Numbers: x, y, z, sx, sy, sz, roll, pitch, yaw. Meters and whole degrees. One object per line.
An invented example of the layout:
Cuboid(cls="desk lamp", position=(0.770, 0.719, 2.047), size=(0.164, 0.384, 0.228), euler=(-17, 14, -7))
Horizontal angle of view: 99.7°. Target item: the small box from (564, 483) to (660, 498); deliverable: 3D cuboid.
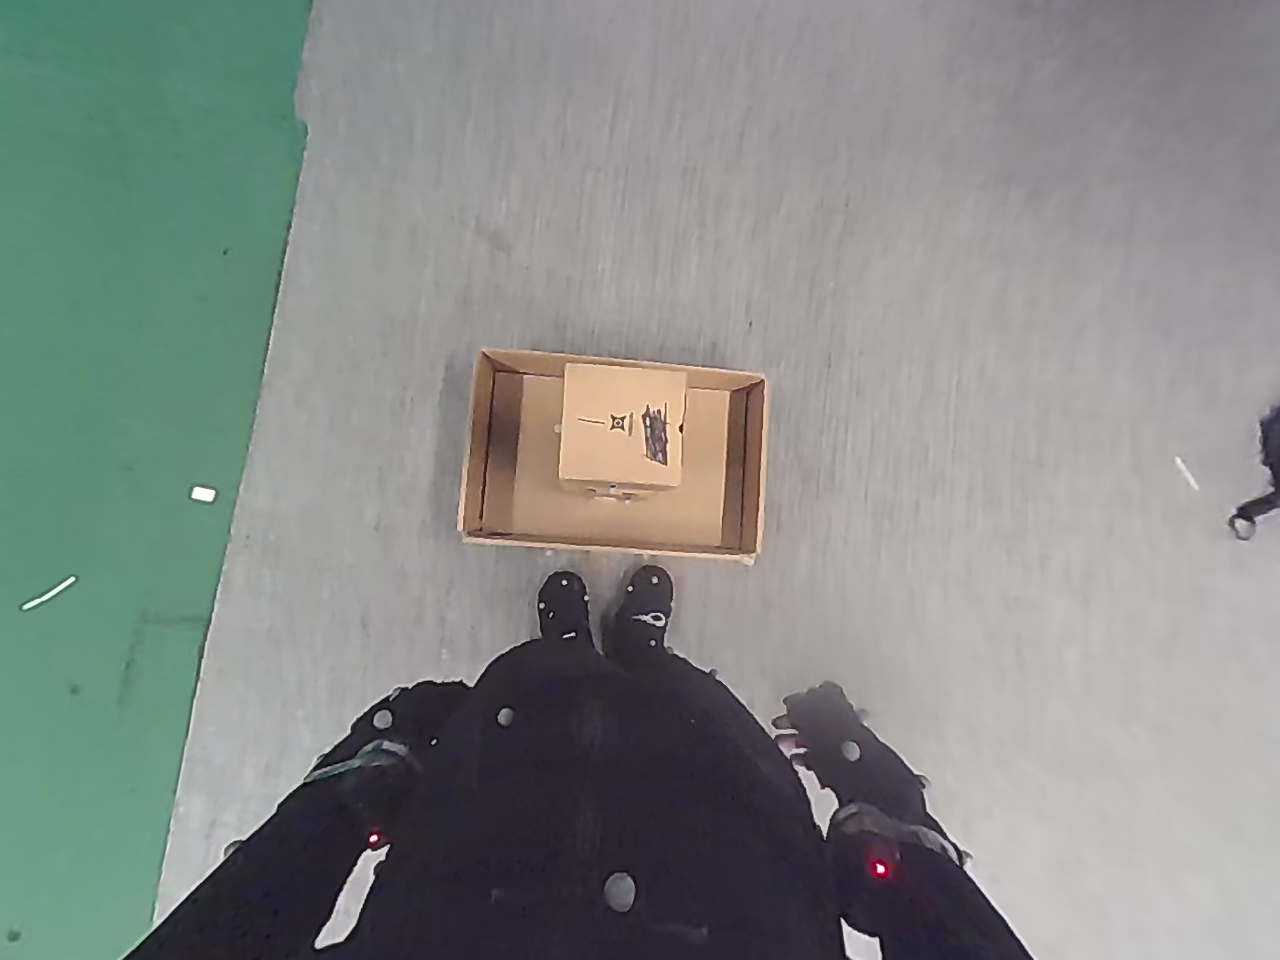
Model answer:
Cuboid(cls="small box", position=(-0.048, -0.056, 0.994), size=(0.168, 0.176, 0.179), euler=(2, 87, -4))

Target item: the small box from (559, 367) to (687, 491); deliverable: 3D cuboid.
Cuboid(cls="small box", position=(-0.029, -0.070, 0.848), size=(0.179, 0.176, 0.168), euler=(3, 86, -4))
